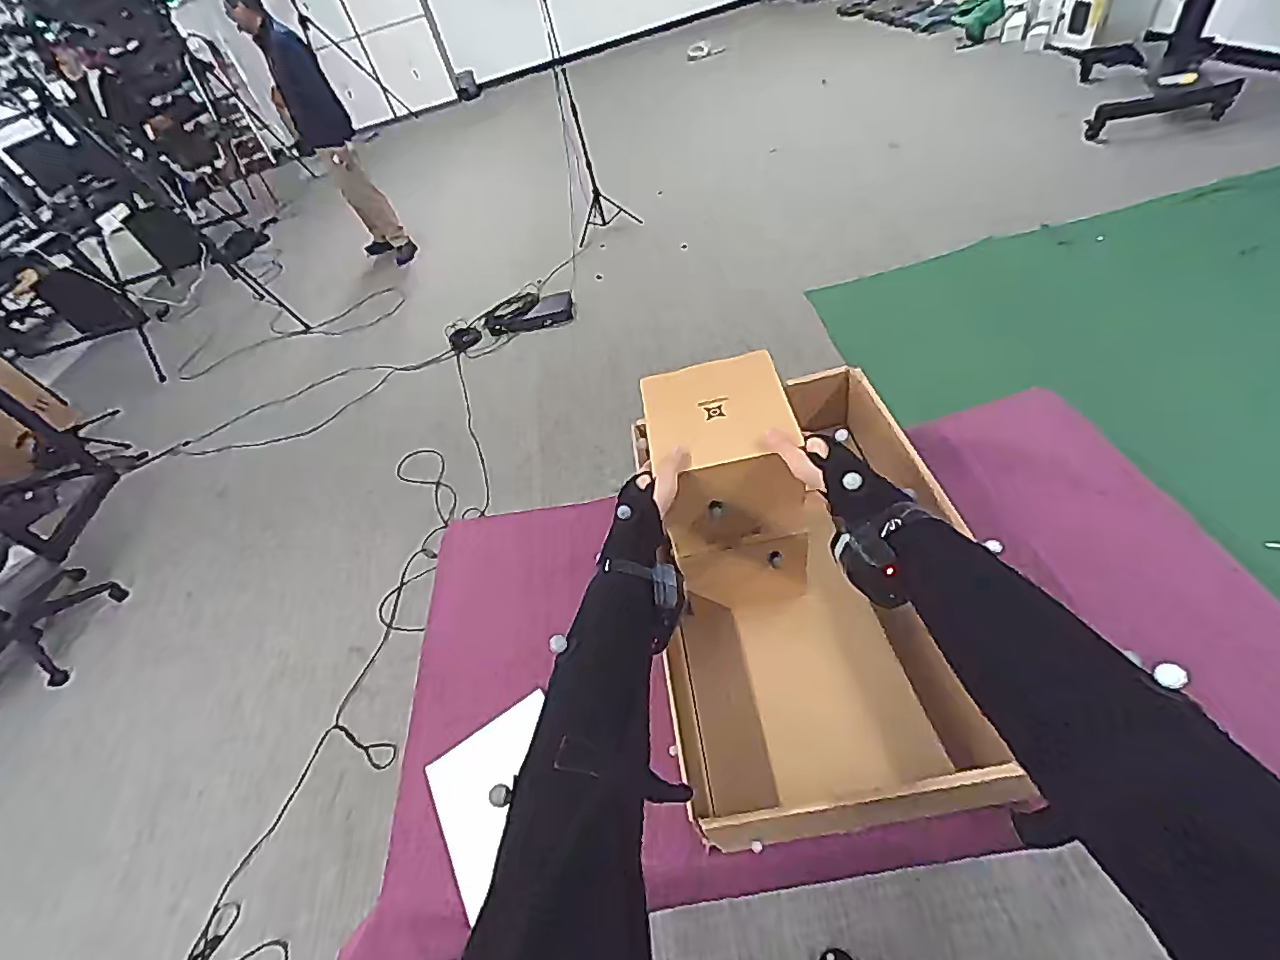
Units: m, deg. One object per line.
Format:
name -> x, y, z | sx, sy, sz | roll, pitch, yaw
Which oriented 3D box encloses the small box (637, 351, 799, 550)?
small box -> 0.100, -0.028, 0.684 | 0.168, 0.176, 0.179 | -12, 47, 6
